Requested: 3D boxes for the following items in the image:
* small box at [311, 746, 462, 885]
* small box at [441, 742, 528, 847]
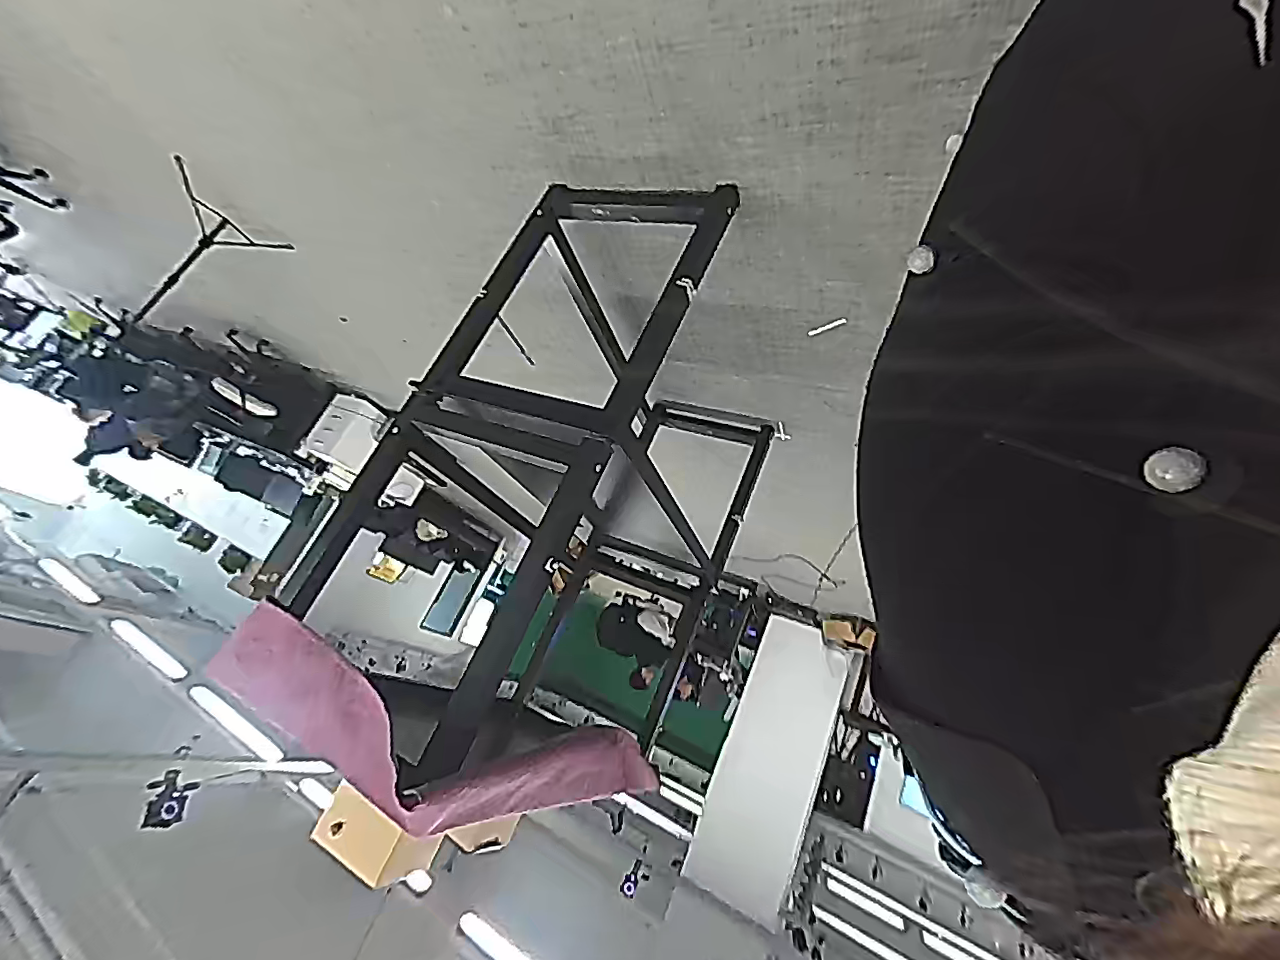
[{"bbox_3d":[-0.494,0.652,1.078,0.179,0.176,0.168,18,163,22],"label":"small box"},{"bbox_3d":[-0.408,0.786,1.369,0.179,0.176,0.168,15,161,31],"label":"small box"}]
